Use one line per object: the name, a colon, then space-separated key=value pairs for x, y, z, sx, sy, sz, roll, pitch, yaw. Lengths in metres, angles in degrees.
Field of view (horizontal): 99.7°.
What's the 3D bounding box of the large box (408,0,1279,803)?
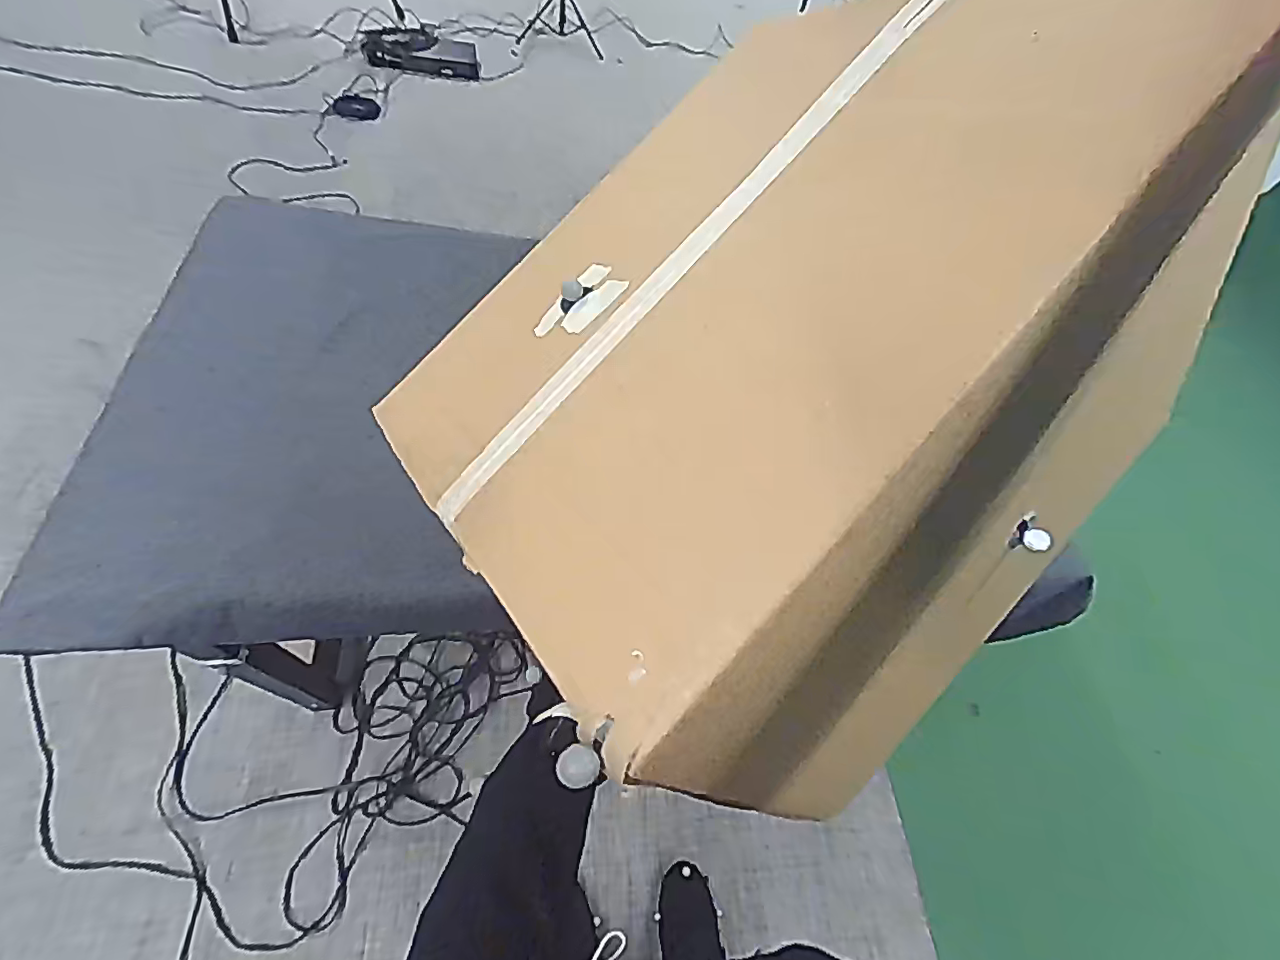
large box: x=0.121 y=-0.042 z=0.411 sx=0.408 sy=0.320 sz=0.320 roll=-49 pitch=47 yaw=-5
